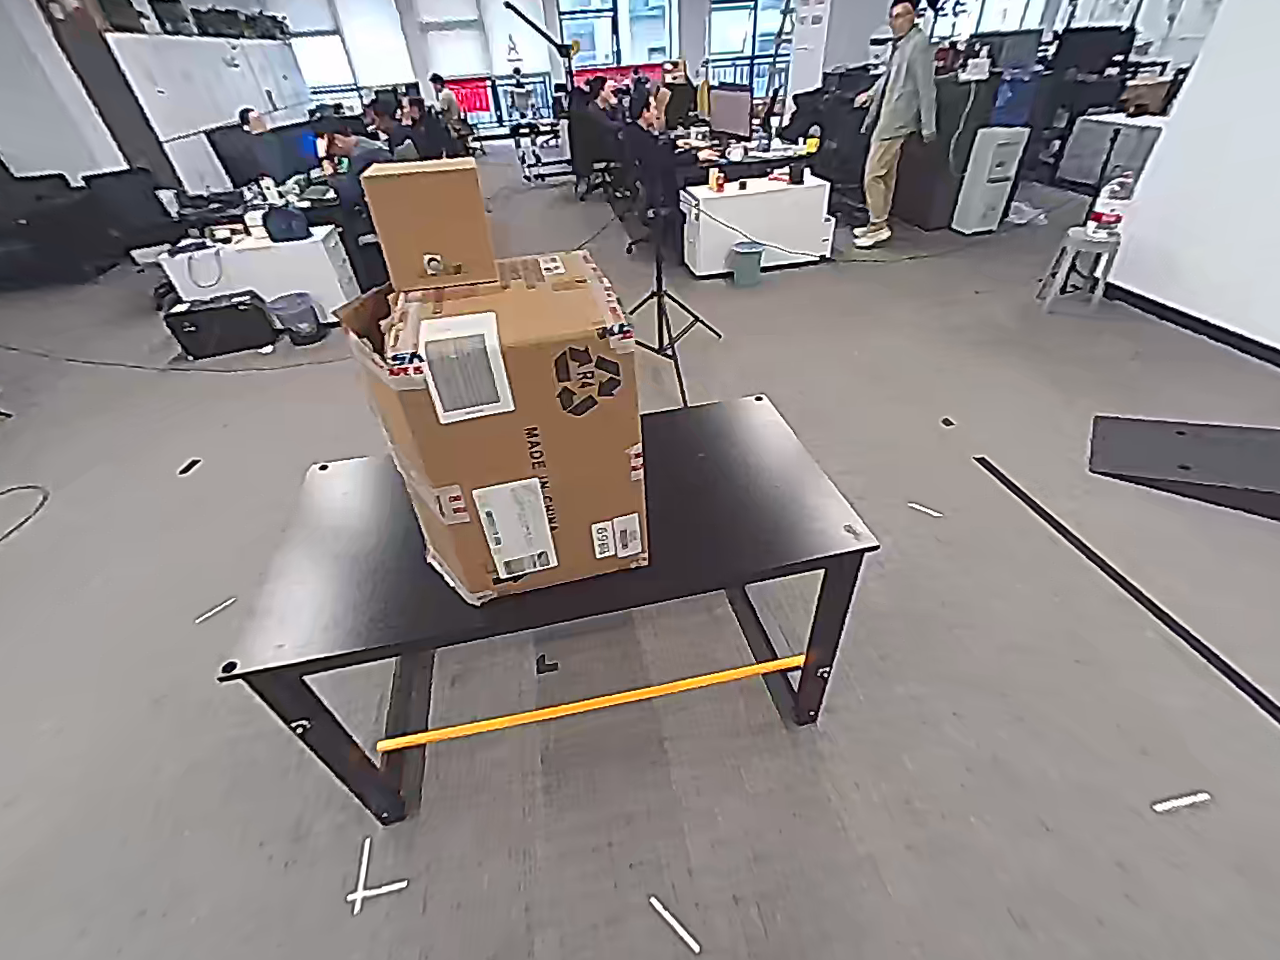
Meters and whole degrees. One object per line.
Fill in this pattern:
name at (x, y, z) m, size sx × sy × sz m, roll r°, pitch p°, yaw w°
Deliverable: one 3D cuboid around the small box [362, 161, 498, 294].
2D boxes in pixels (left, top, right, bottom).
small box at (-0.338, -0.420, 0.898) m, size 0.168 × 0.176 × 0.179 m, roll -13°, pitch 38°, yaw -12°
